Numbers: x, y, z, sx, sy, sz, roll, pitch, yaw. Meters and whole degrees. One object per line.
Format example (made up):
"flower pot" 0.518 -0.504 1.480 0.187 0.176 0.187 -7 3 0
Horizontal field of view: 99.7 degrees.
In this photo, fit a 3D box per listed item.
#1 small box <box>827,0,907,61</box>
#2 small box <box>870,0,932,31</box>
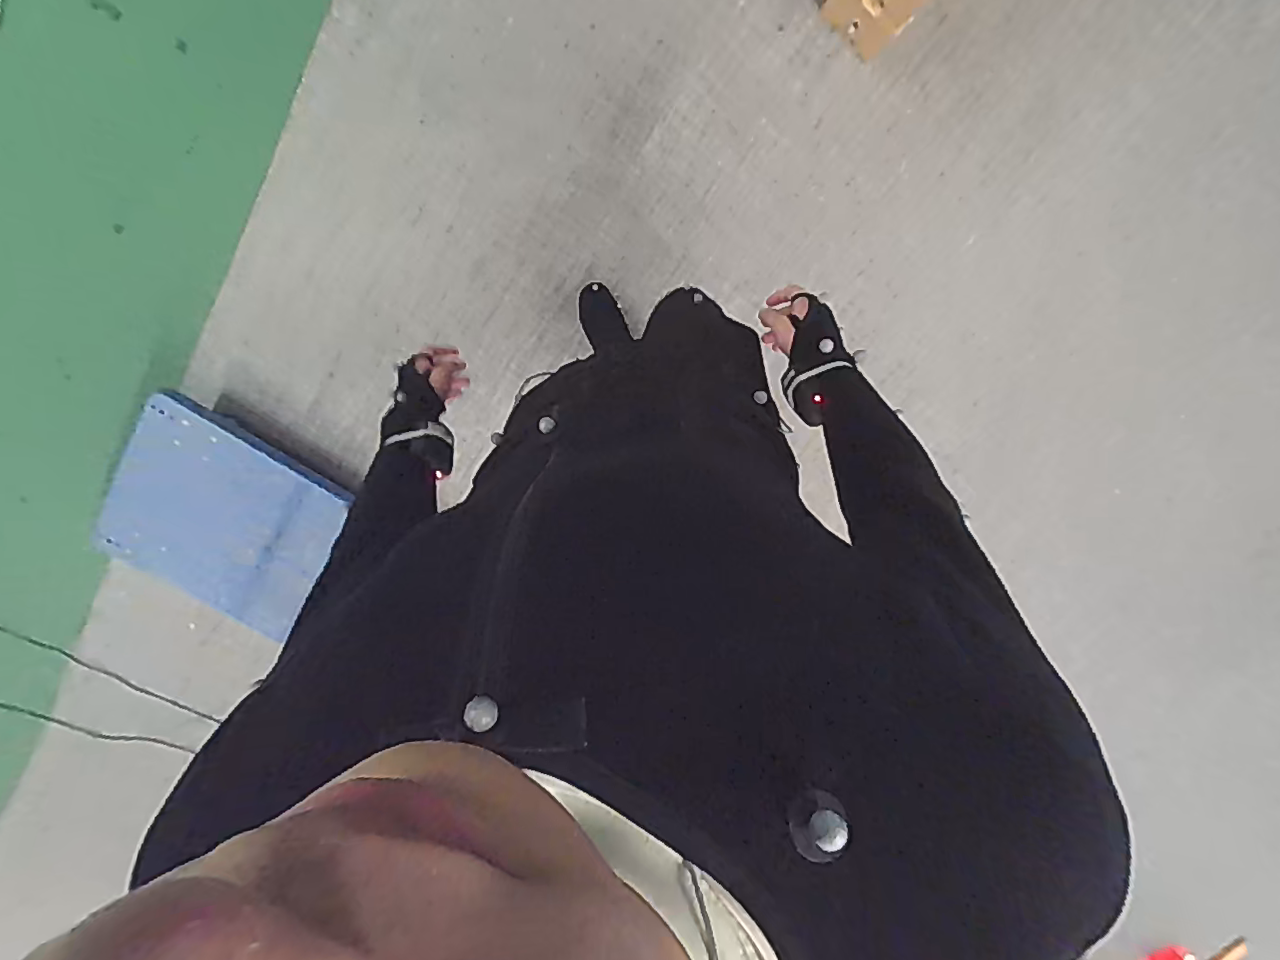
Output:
"small box" 0.533 -1.071 1.178 0.168 0.176 0.179 36 108 -12
"small box" 0.537 -1.020 1.021 0.168 0.176 0.179 41 106 -13
